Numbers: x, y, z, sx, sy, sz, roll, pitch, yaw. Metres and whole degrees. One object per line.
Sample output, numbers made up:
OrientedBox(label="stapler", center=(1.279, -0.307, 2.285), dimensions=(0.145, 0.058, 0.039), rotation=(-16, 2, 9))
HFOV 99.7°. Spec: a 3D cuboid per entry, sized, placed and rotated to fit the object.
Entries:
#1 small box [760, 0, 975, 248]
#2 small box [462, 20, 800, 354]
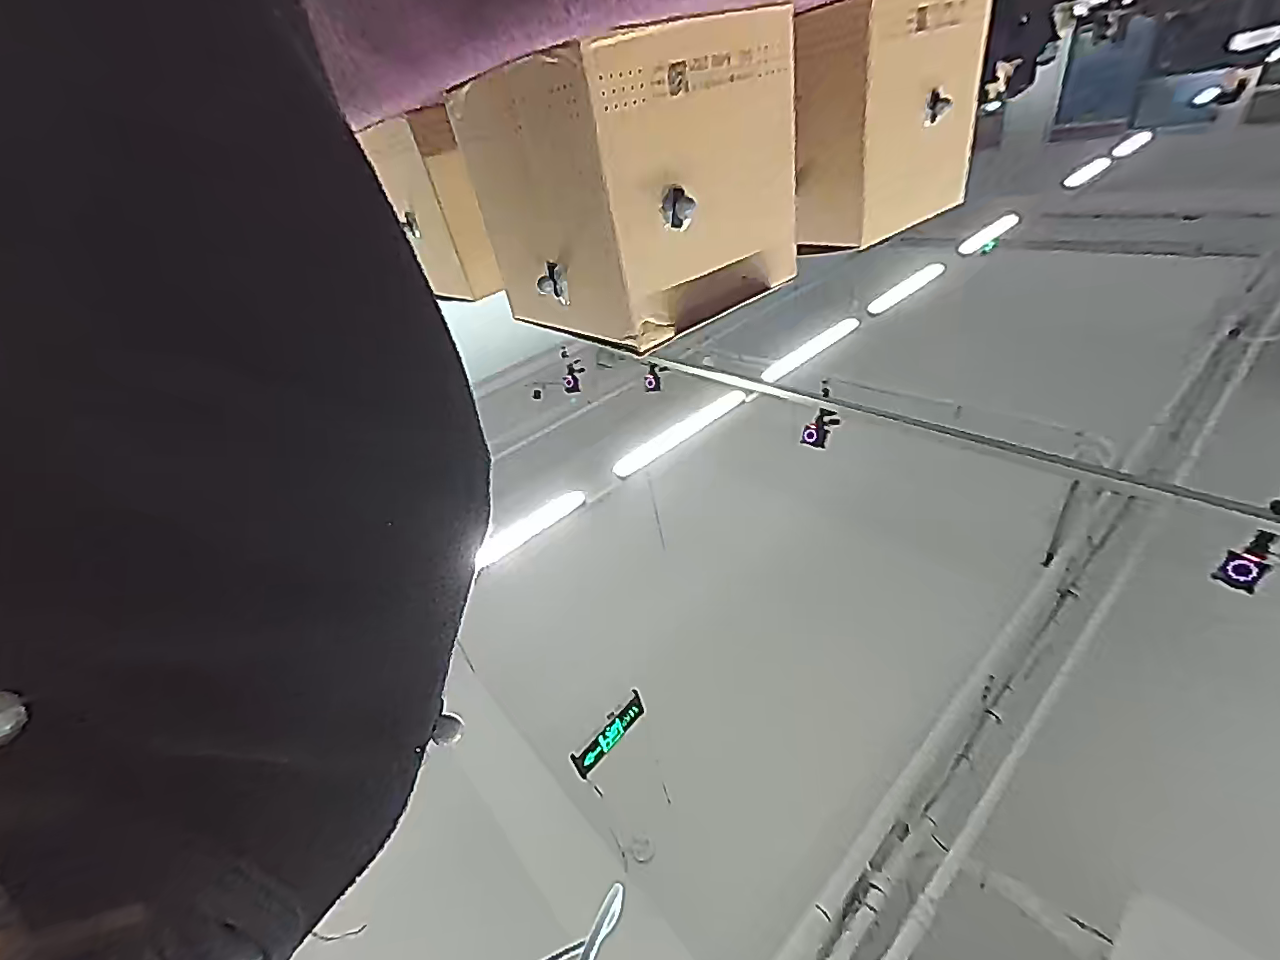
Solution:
OrientedBox(label="small box", center=(0.182, -0.330, 0.501), dimensions=(0.168, 0.176, 0.179), rotation=(-32, -141, -26))
OrientedBox(label="small box", center=(-0.005, -0.215, 0.400), dimensions=(0.168, 0.176, 0.179), rotation=(-33, -141, -27))
